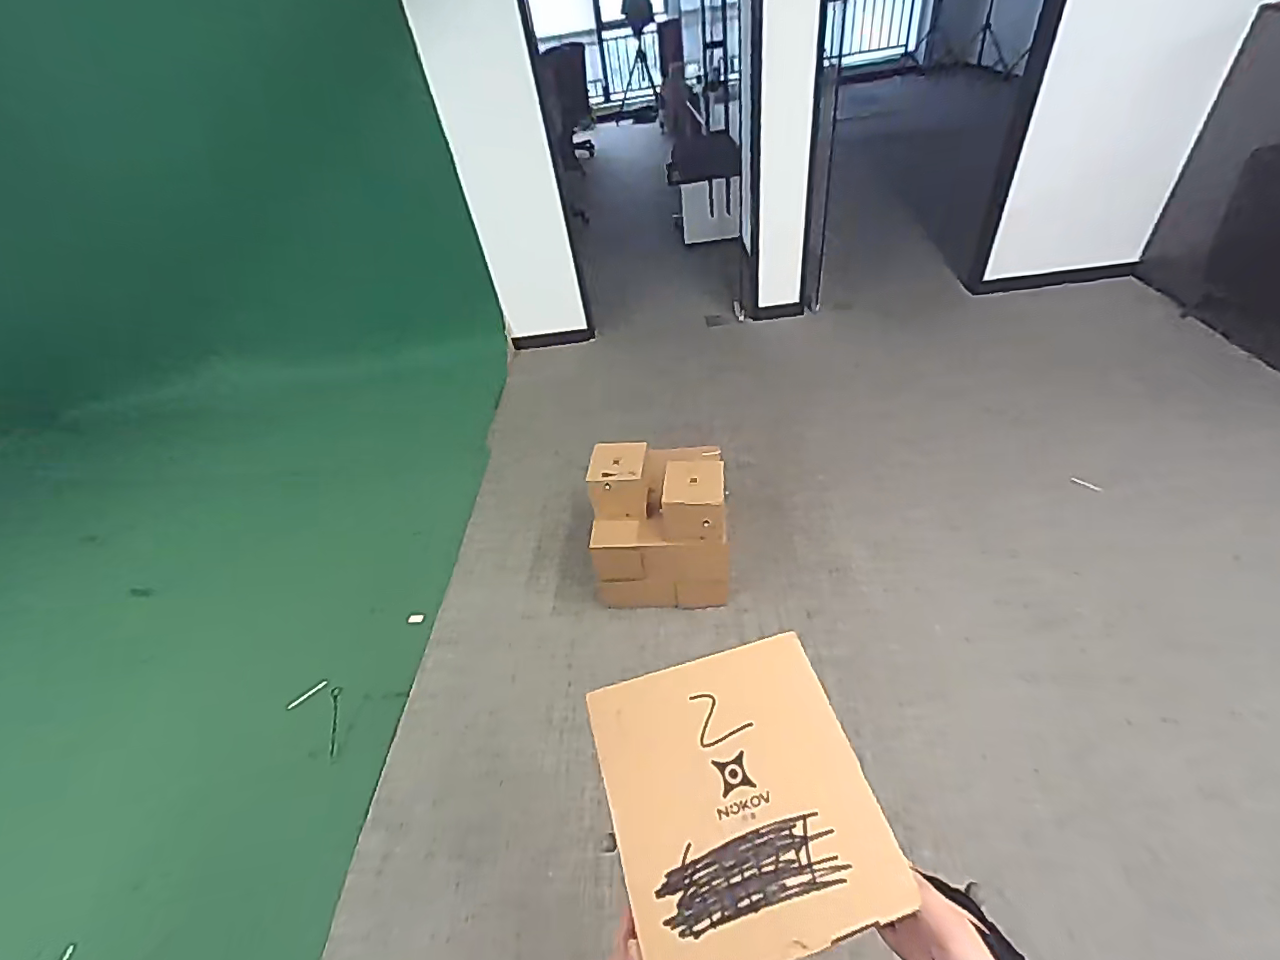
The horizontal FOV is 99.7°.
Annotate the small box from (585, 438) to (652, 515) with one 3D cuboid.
[{"bbox_3d":[-0.059,-0.012,1.663,0.168,0.176,0.179,-2,41,11],"label":"small box"}]

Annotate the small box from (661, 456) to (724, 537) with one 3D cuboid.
[{"bbox_3d":[0.156,0.049,1.553,0.168,0.176,0.179,1,42,10],"label":"small box"}]
